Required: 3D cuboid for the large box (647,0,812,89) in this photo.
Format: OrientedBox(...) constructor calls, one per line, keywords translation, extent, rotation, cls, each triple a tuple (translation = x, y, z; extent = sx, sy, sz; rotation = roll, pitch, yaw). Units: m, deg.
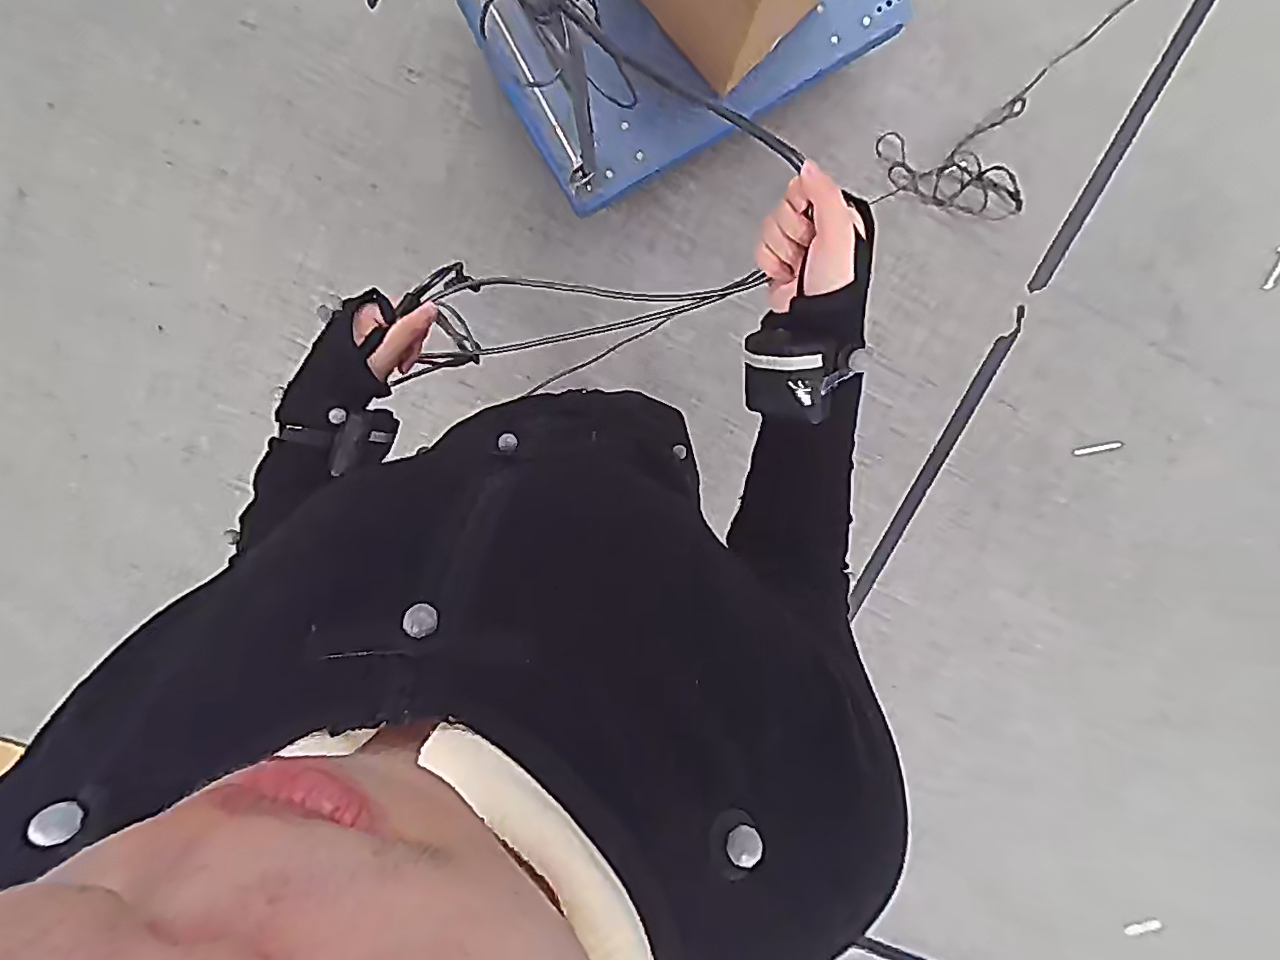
OrientedBox(translation=(0.161, -1.072, 1.002), extent=(0.320, 0.320, 0.408), rotation=(-44, 100, 5), cls="large box")
